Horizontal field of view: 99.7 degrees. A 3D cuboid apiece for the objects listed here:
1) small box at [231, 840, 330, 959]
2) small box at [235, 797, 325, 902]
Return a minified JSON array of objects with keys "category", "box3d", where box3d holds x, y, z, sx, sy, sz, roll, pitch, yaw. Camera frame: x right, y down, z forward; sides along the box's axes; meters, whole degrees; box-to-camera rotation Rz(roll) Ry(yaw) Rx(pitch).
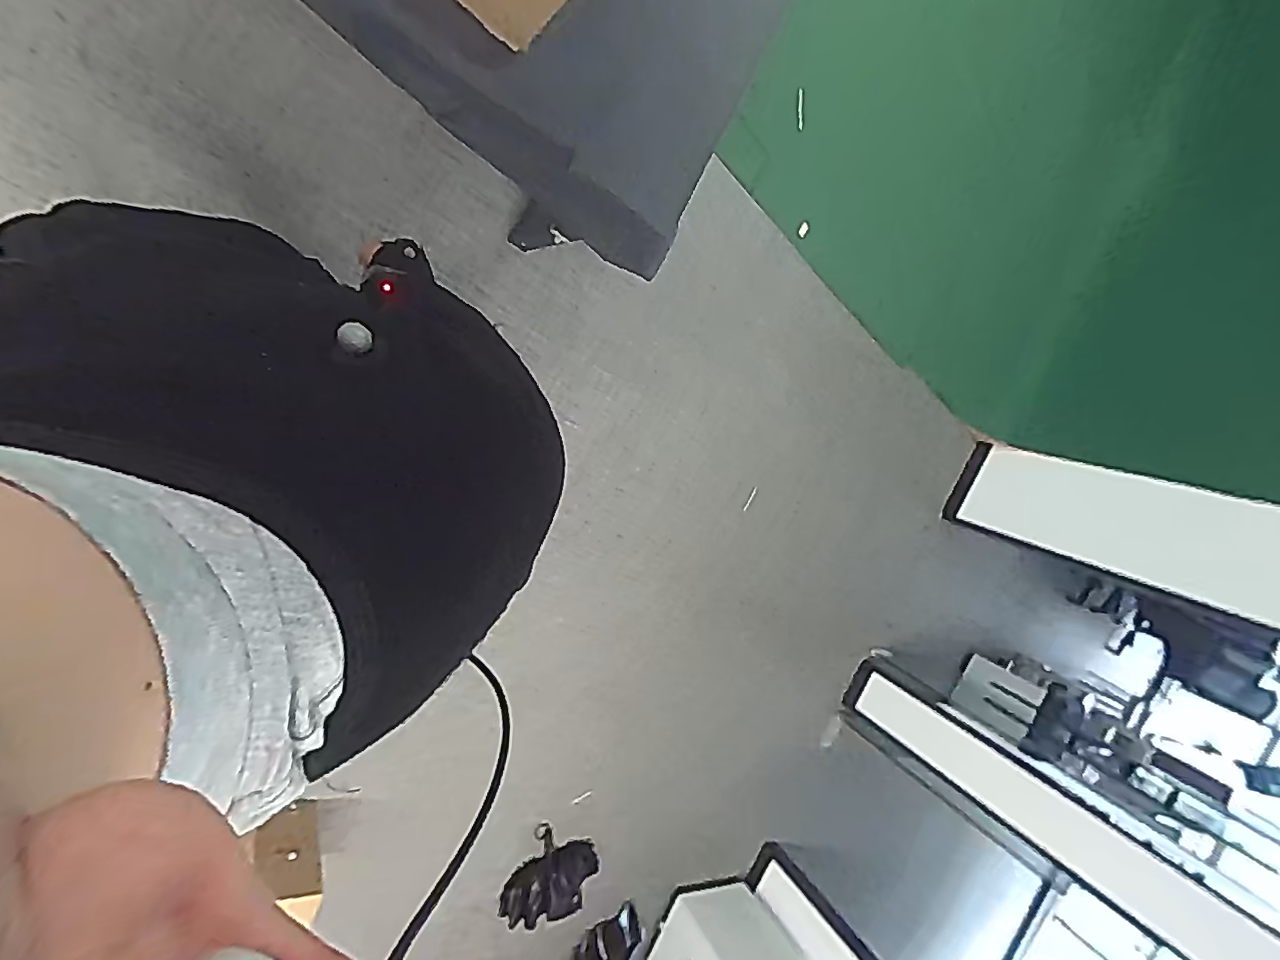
[{"category":"small box","box3d":[-0.933,1.085,1.410,0.168,0.176,0.179,22,94,-37]},{"category":"small box","box3d":[-1.023,1.043,1.541,0.168,0.176,0.179,22,93,-37]}]
